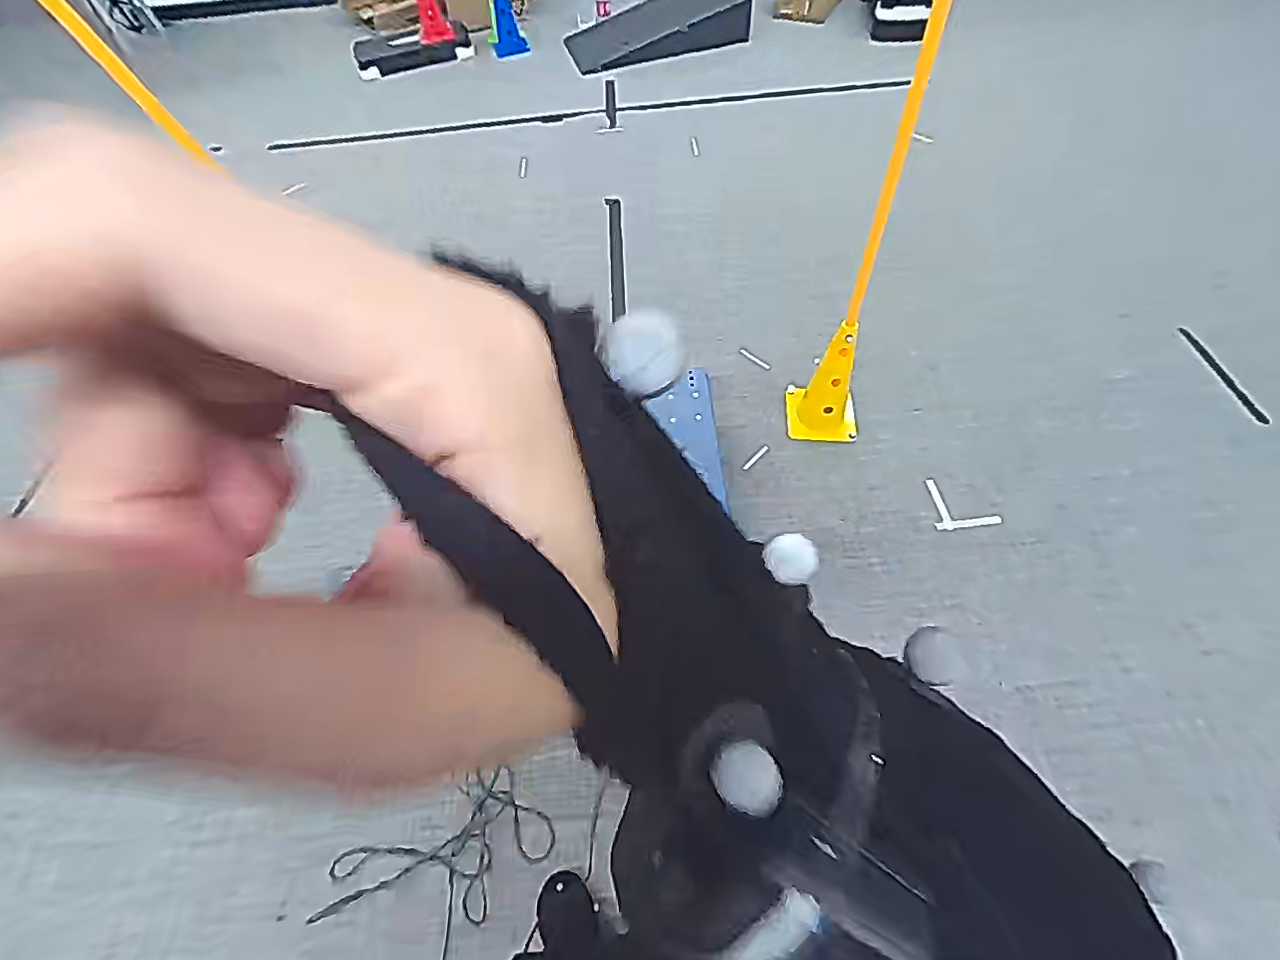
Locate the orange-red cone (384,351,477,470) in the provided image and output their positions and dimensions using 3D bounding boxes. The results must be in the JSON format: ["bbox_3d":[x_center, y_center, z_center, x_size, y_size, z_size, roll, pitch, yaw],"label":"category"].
[{"bbox_3d":[-0.639,-0.227,1.544,0.198,0.360,0.199,37,66,22],"label":"orange-red cone"}]
